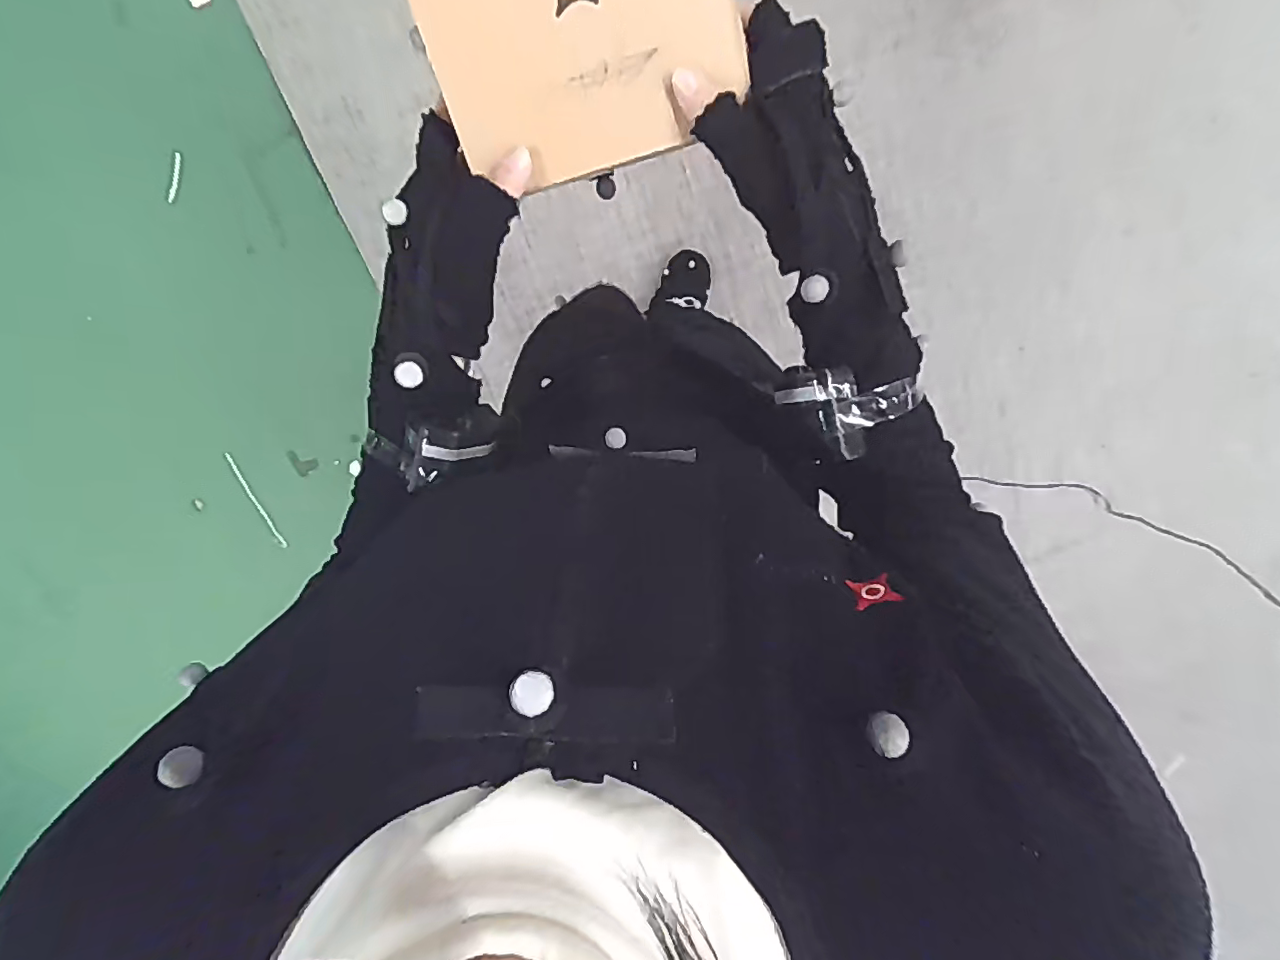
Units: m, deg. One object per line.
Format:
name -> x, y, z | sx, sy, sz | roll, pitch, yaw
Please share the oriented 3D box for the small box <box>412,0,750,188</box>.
small box -> -0.041, -0.302, 0.343 | 0.168, 0.176, 0.179 | -15, 119, 7
